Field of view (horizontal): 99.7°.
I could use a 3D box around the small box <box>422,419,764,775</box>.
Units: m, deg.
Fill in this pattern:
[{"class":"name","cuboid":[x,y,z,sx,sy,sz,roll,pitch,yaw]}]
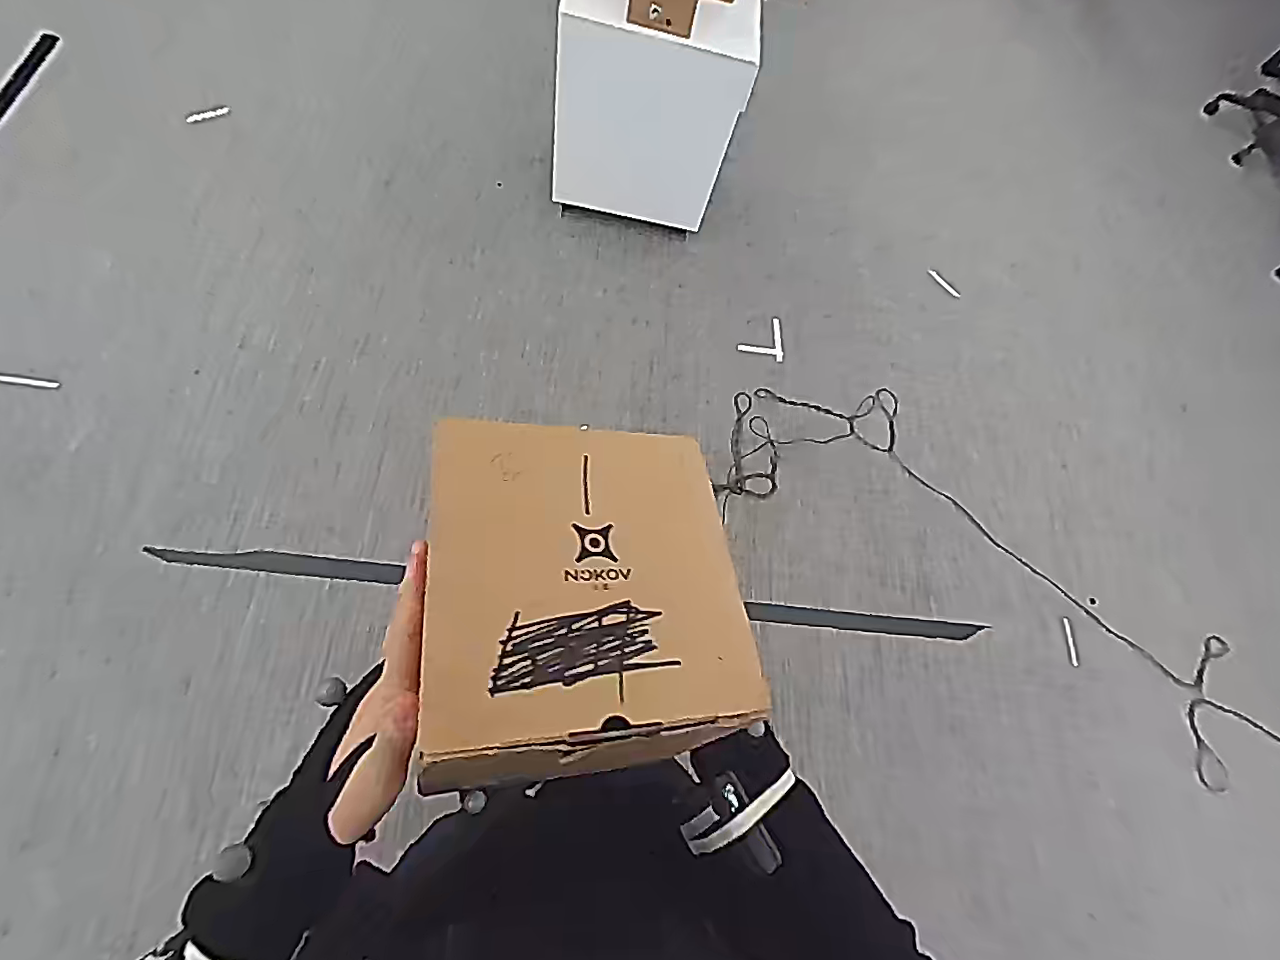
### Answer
[{"class":"small box","cuboid":[-0.049,0.083,0.355,0.168,0.176,0.179,2,56,-20]}]
